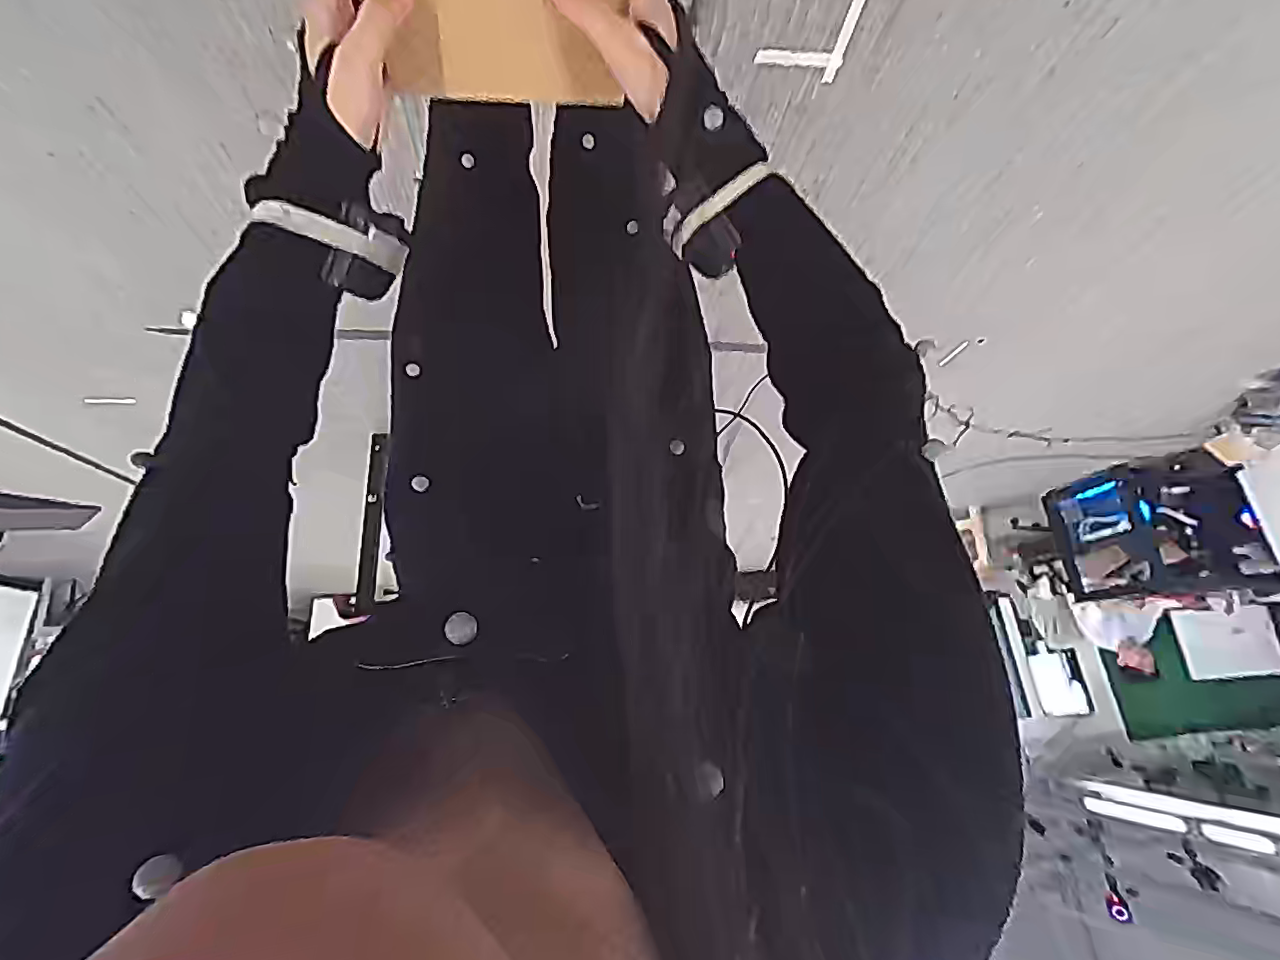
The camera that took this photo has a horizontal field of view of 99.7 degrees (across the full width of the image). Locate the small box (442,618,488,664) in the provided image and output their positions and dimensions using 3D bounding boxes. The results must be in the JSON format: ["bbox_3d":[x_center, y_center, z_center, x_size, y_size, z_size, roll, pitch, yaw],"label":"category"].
[{"bbox_3d":[-0.702,0.649,2.179,0.168,0.176,0.179,0,160,-15],"label":"small box"}]

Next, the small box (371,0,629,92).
[{"bbox_3d":[-0.092,-0.394,0.345,0.168,0.176,0.179,-4,155,-9],"label":"small box"}]
